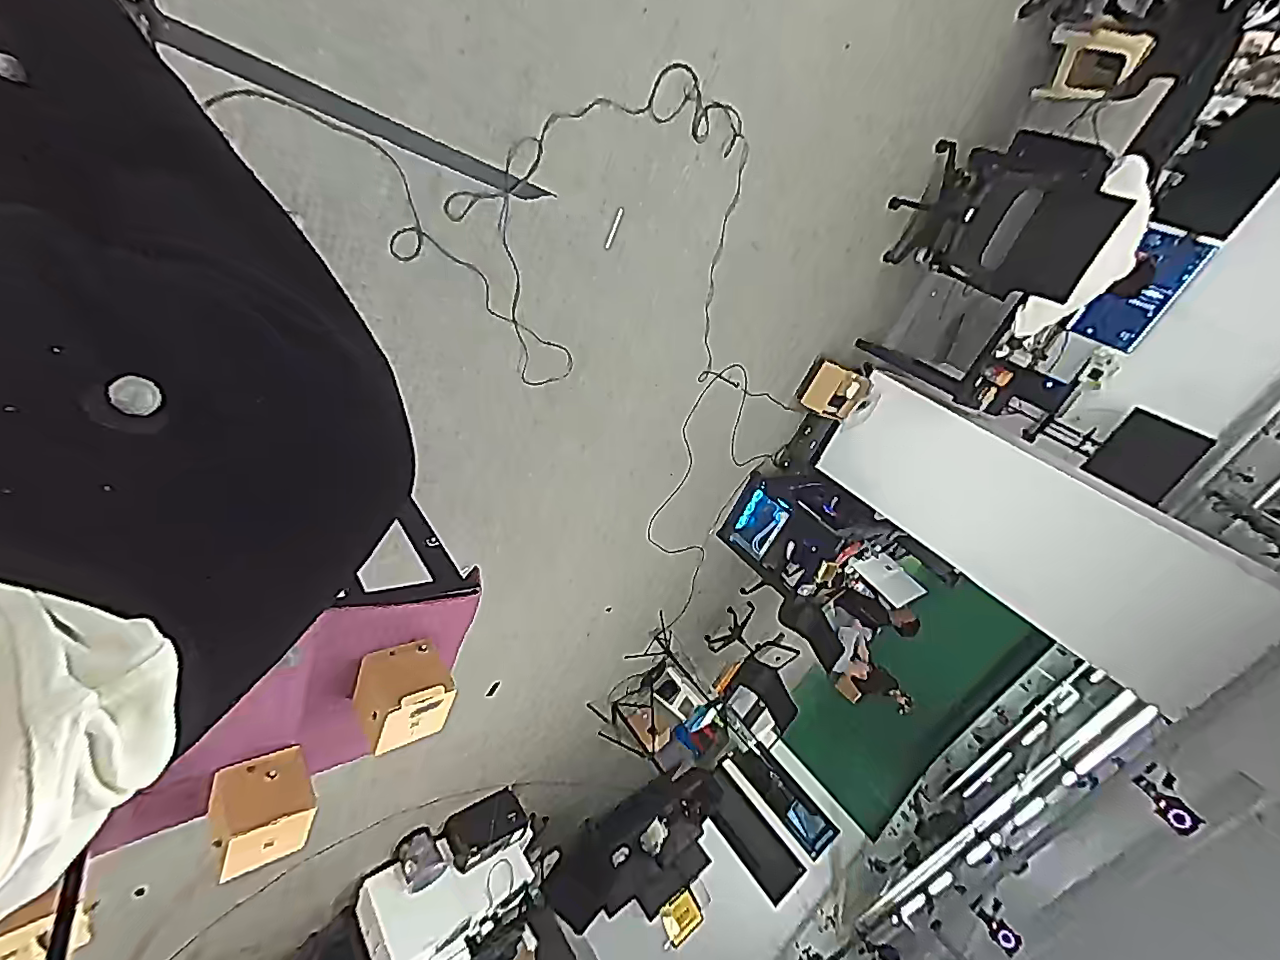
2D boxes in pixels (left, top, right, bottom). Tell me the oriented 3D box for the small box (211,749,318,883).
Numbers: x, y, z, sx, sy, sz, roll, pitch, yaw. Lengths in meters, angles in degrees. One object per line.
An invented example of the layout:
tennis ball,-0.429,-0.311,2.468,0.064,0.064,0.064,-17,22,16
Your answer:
small box,-0.874,0.768,1.253,0.168,0.176,0.179,0,124,-47

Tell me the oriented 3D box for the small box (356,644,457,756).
small box,-0.579,0.527,1.330,0.168,0.176,0.179,-4,130,-45
